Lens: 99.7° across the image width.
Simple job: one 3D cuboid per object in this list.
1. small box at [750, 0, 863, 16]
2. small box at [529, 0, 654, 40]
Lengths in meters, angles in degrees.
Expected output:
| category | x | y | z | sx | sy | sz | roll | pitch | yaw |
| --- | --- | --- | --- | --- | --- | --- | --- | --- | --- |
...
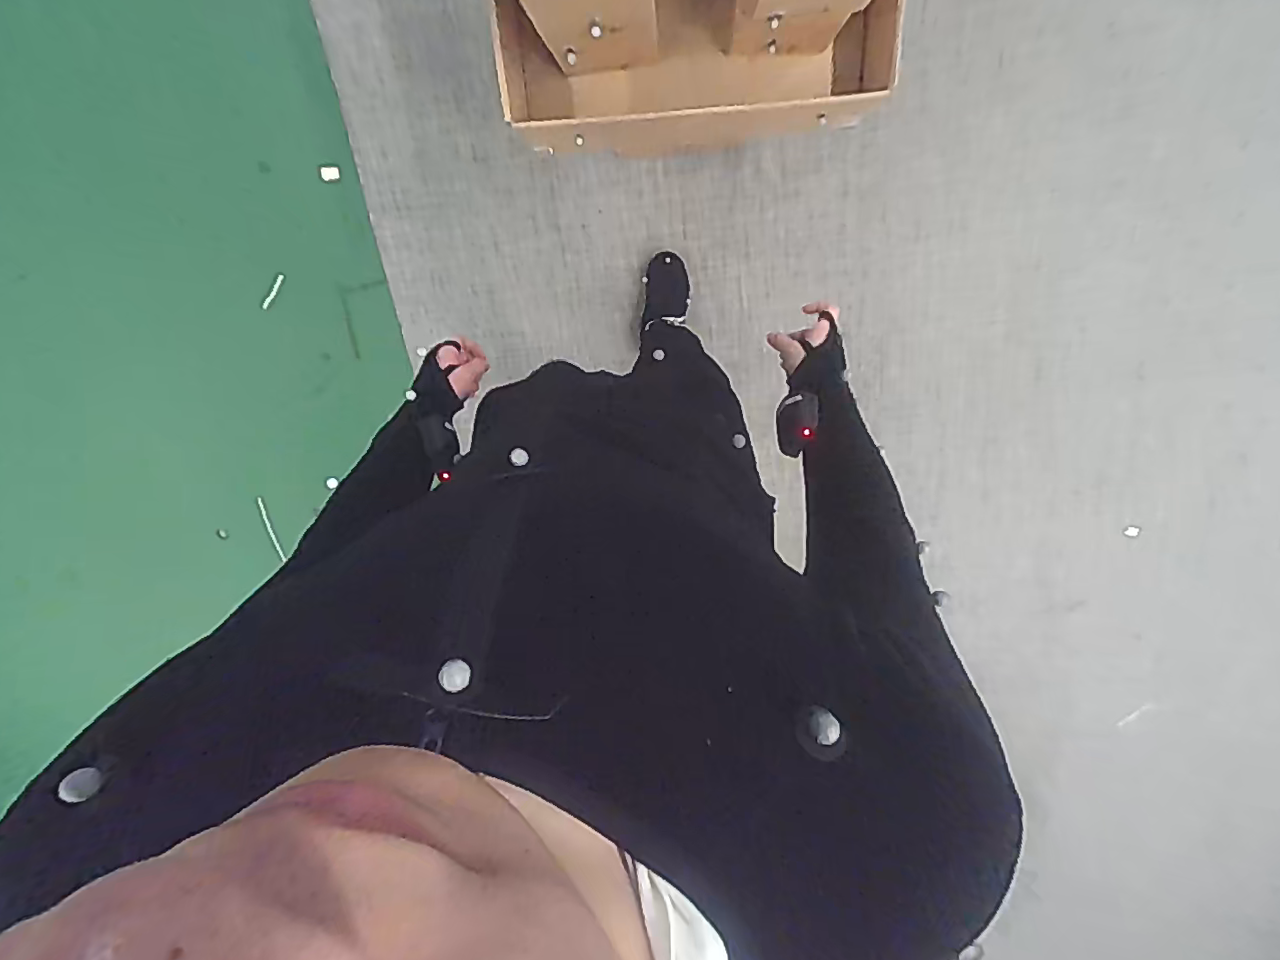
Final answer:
| category | x | y | z | sx | sy | sz | roll | pitch | yaw |
| --- | --- | --- | --- | --- | --- | --- | --- | --- | --- |
| small box | 0.224 | -0.709 | 0.662 | 0.168 | 0.176 | 0.179 | -5 | 112 | 5 |
| small box | -0.072 | -0.700 | 0.681 | 0.168 | 0.176 | 0.179 | -4 | 112 | 5 |
